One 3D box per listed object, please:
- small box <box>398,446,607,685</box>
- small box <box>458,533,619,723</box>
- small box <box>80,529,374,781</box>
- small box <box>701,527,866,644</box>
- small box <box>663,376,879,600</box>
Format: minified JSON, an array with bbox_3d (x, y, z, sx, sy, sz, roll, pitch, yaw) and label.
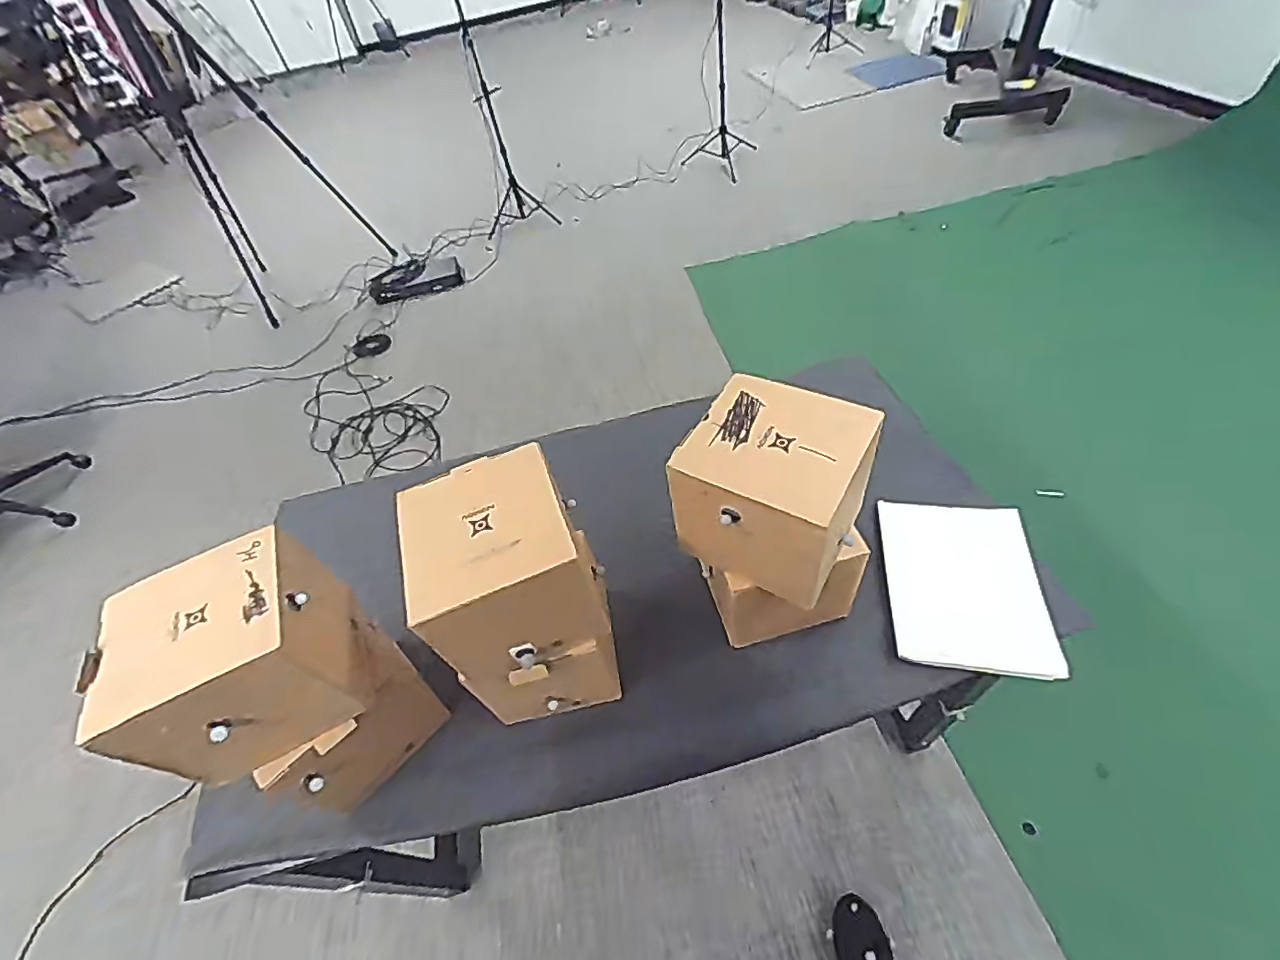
[{"bbox_3d":[-0.152,0.099,0.613,0.168,0.176,0.179,-22,50,-7],"label":"small box"},{"bbox_3d":[-0.131,0.202,0.736,0.168,0.176,0.179,-14,49,1],"label":"small box"},{"bbox_3d":[-0.424,0.193,0.586,0.179,0.176,0.168,-27,51,-10],"label":"small box"},{"bbox_3d":[0.184,0.104,0.757,0.179,0.176,0.168,-17,49,-2],"label":"small box"},{"bbox_3d":[0.149,0.011,0.626,0.179,0.176,0.168,22,58,27],"label":"small box"}]
